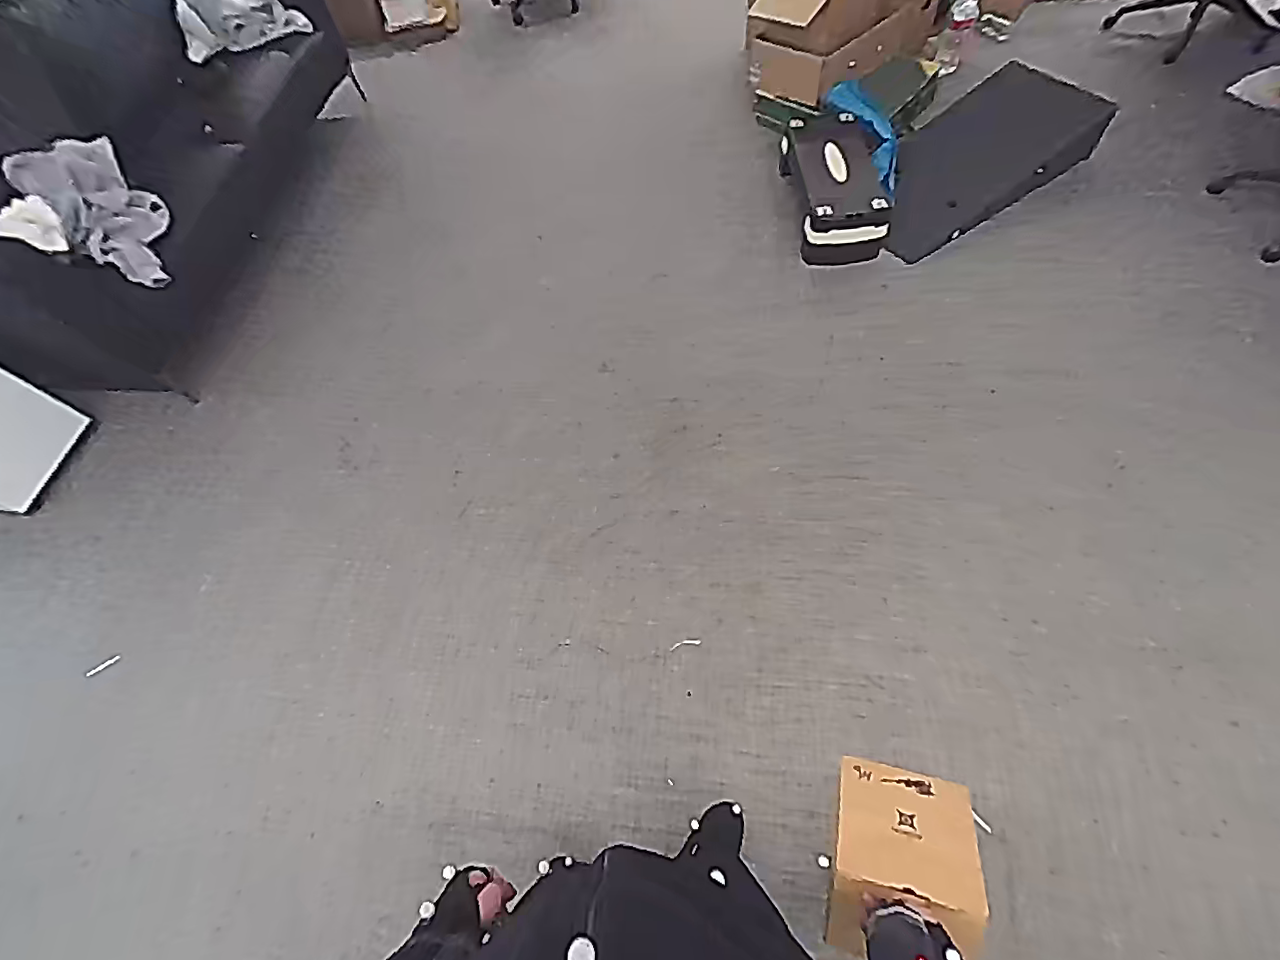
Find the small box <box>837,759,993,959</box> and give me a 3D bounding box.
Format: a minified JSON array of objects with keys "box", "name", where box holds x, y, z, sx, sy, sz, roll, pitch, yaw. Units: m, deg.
[{"box":[0.361,0.528,0.738,0.168,0.176,0.179,2,24,20],"name":"small box"}]
